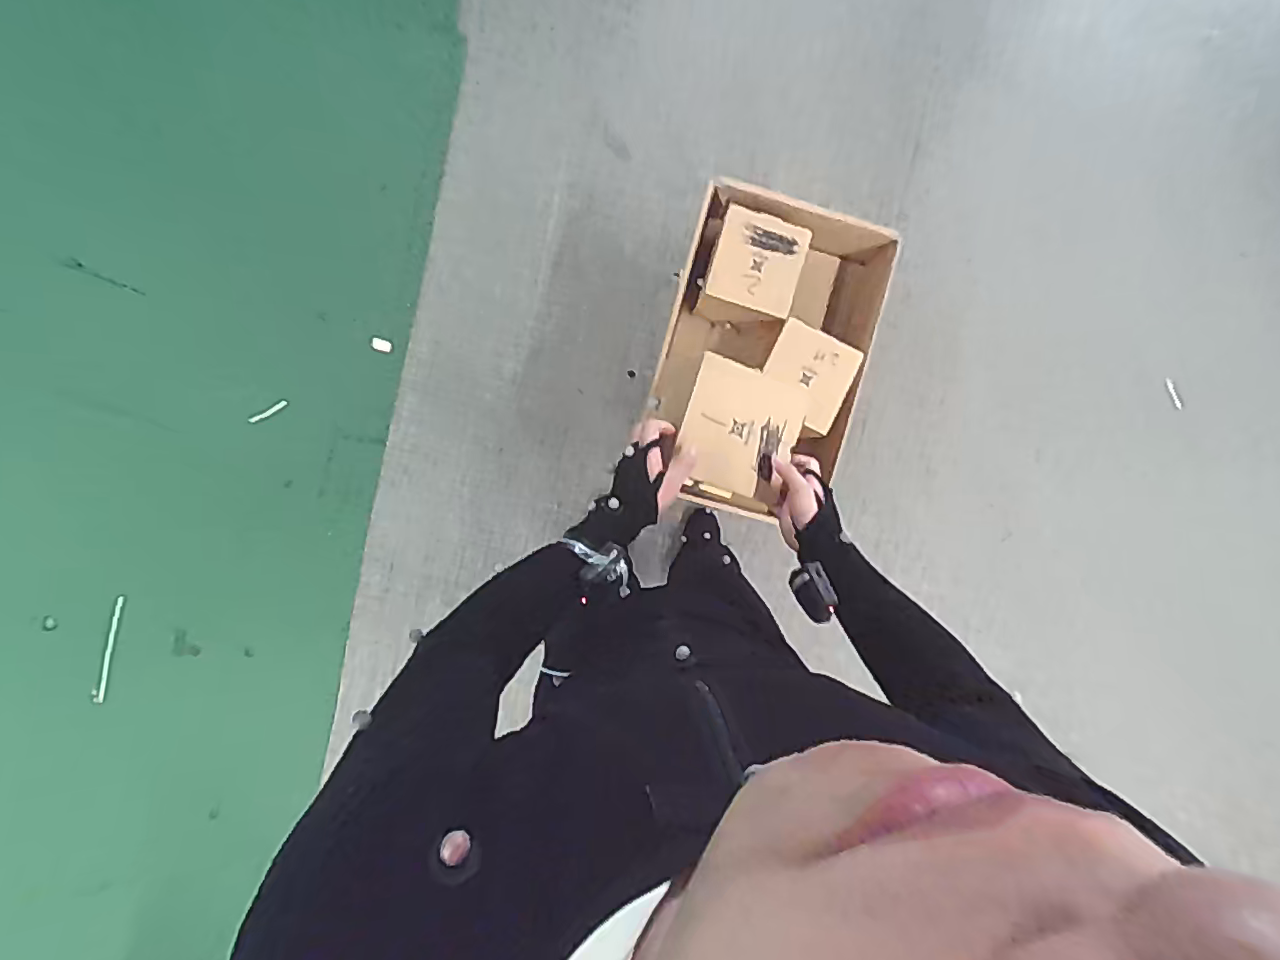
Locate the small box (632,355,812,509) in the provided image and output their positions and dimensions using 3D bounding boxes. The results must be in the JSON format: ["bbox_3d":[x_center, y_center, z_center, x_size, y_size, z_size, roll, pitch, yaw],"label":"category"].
[{"bbox_3d":[0.110,-0.071,0.792,0.179,0.176,0.168,18,92,-18],"label":"small box"}]
